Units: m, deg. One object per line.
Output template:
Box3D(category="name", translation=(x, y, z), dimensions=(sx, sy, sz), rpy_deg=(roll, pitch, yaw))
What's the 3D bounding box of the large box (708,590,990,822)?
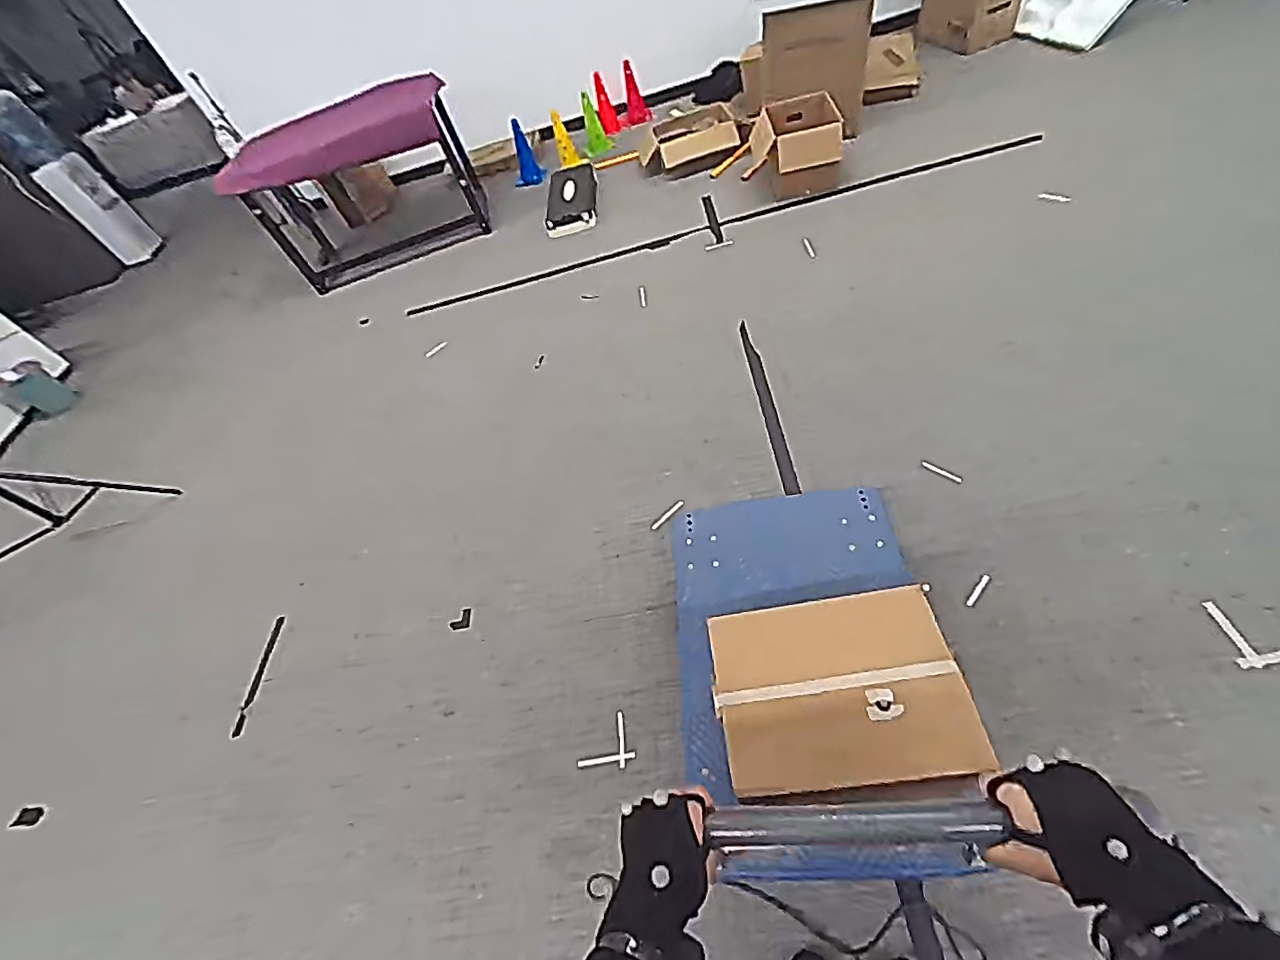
Box3D(category="large box", translation=(0.370, 0.454, 1.063), dimensions=(0.408, 0.320, 0.320), rpy_deg=(-11, 51, 7))
